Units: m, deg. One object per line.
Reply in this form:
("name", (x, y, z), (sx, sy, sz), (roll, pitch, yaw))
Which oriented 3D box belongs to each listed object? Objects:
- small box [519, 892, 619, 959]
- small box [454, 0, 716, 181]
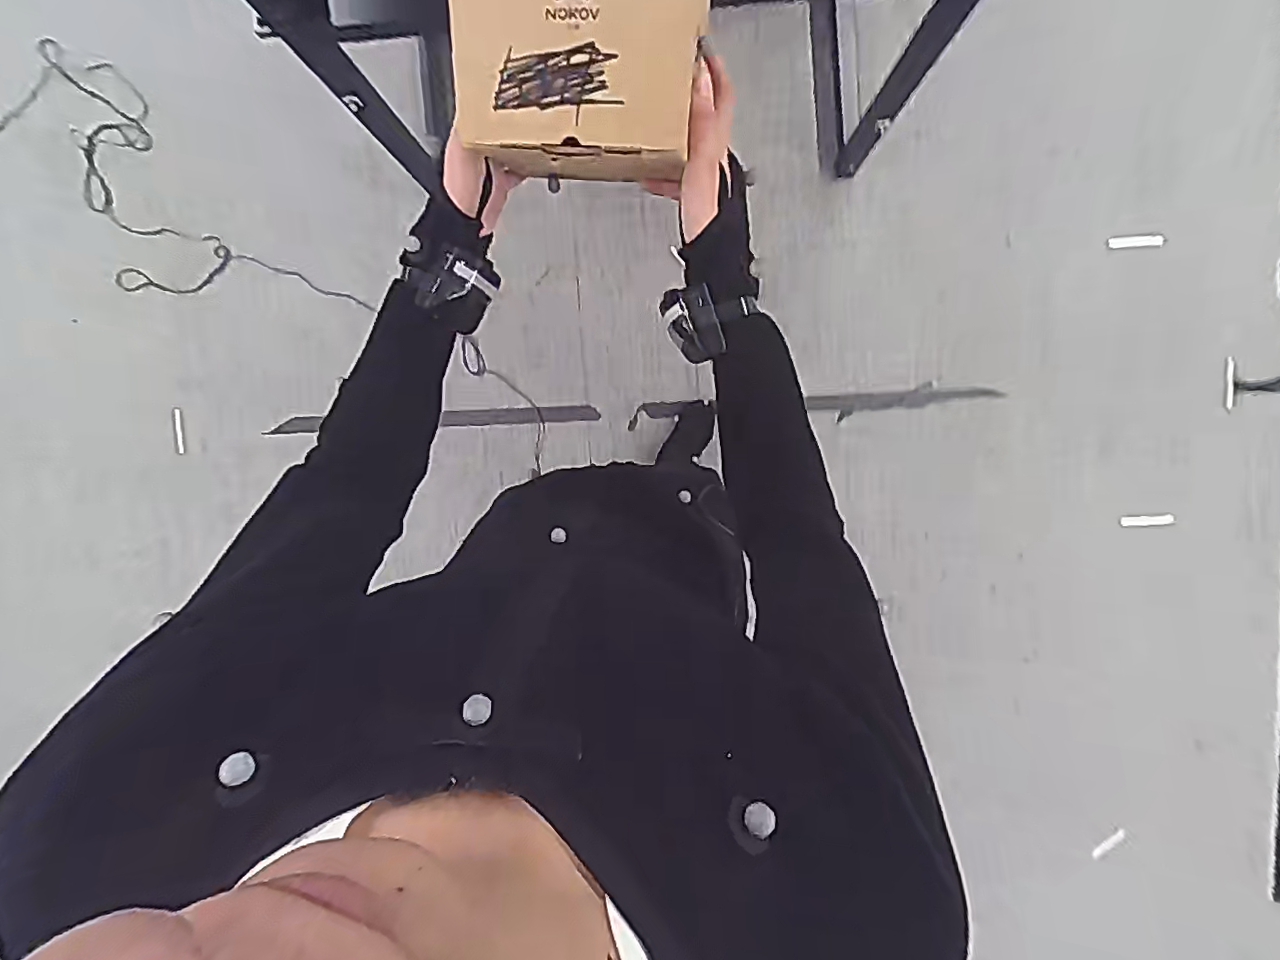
("small box", (-0.131, 0.948, 1.045), (0.168, 0.176, 0.179), (-6, 95, 1))
("small box", (-0.030, -0.340, 0.418), (0.168, 0.176, 0.179), (6, 112, 5))
